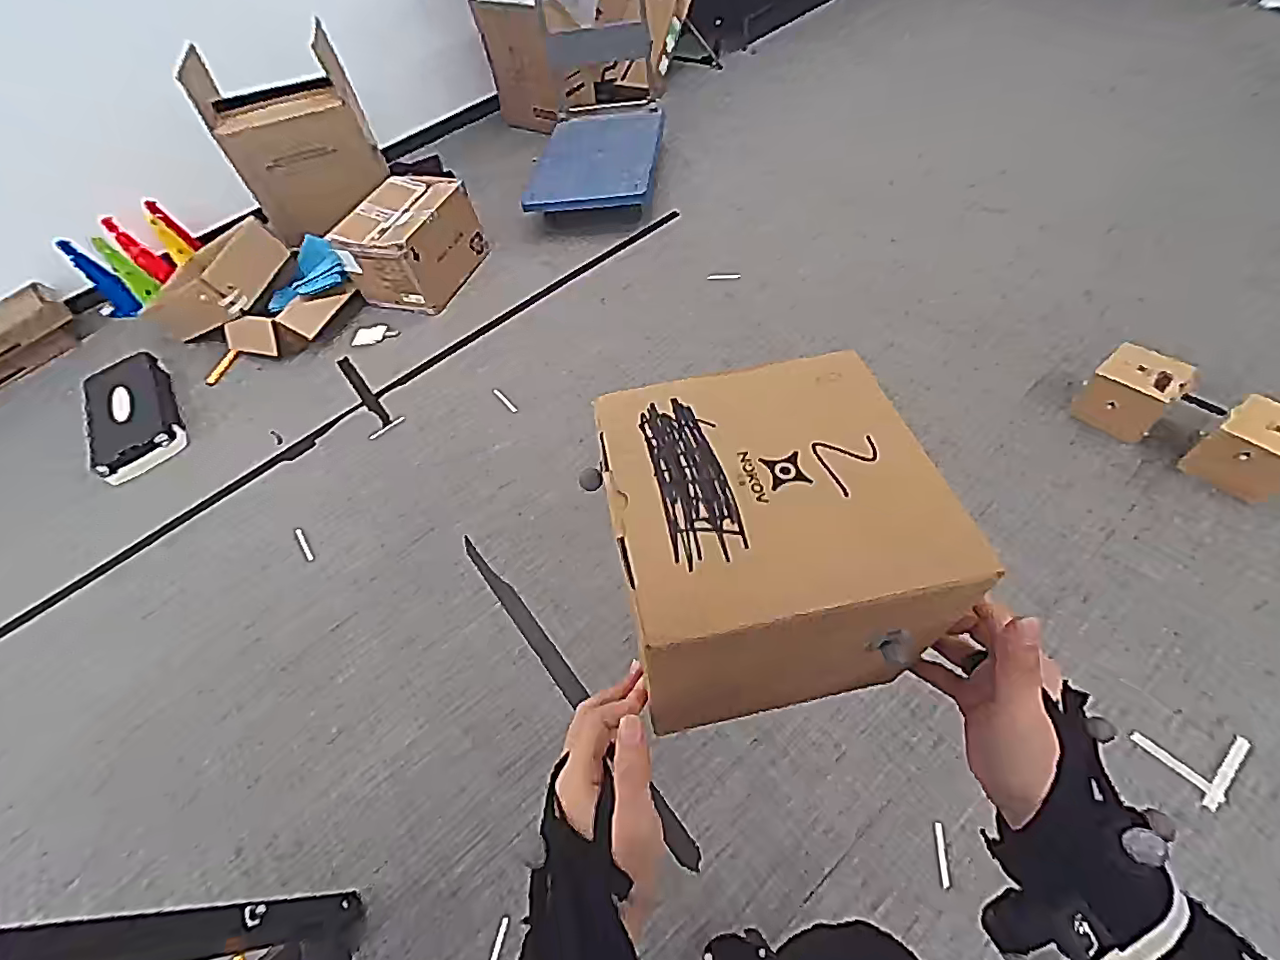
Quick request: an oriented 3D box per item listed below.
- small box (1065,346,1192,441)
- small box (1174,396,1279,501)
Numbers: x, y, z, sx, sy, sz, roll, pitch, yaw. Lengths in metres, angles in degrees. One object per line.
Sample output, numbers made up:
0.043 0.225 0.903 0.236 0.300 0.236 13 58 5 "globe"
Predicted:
1.347 -0.234 1.505 0.168 0.176 0.179 -37 56 -16 "small box"
1.526 -0.070 1.357 0.168 0.176 0.179 -37 56 -15 "small box"
